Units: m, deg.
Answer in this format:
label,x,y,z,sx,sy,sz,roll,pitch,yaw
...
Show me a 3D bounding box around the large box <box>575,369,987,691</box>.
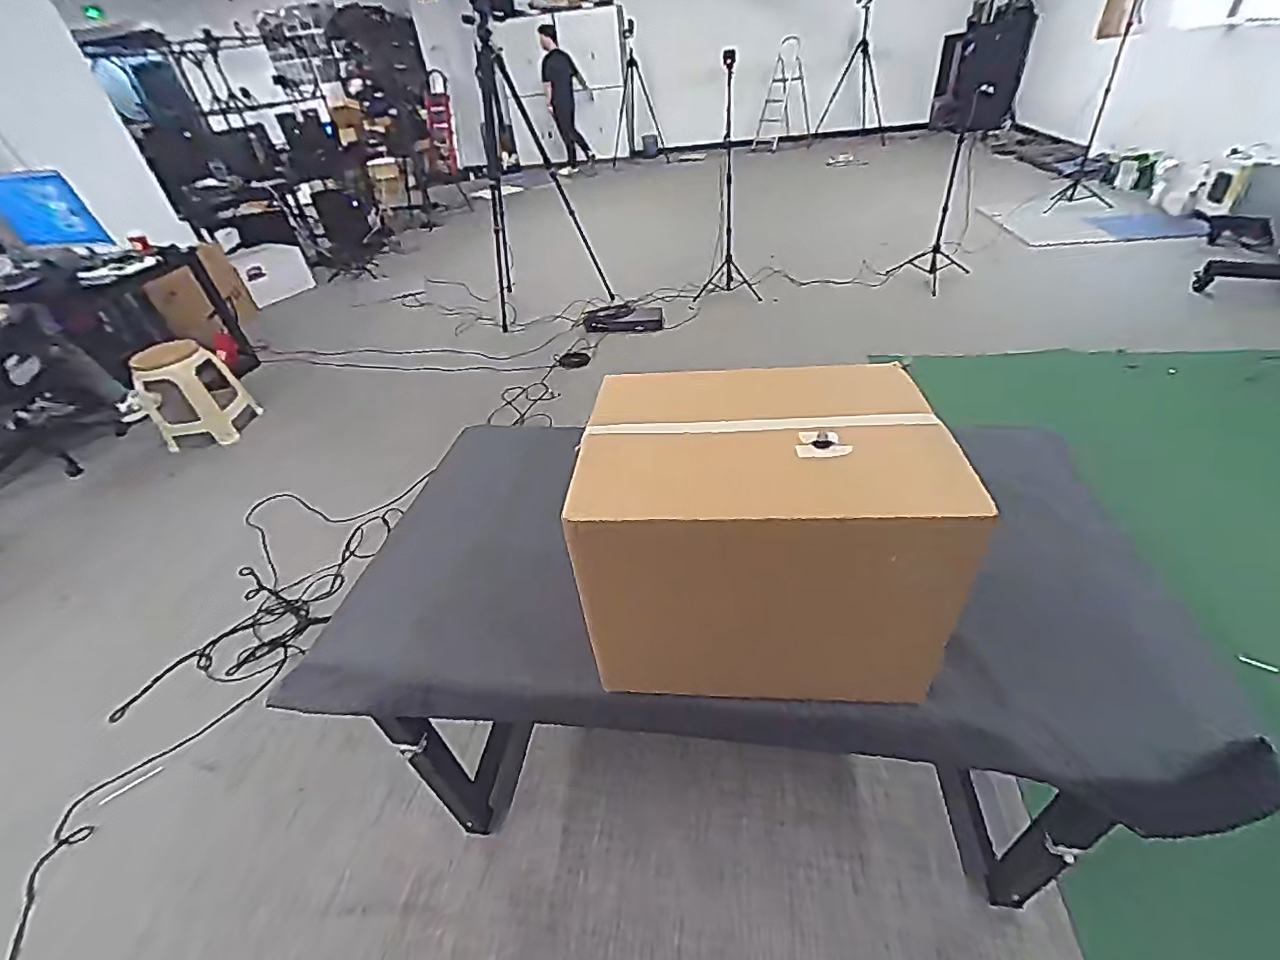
label,x,y,z,sx,sy,sz,roll,pitch,yaw
large box,0.150,0.062,0.729,0.408,0.320,0.320,-1,38,6
